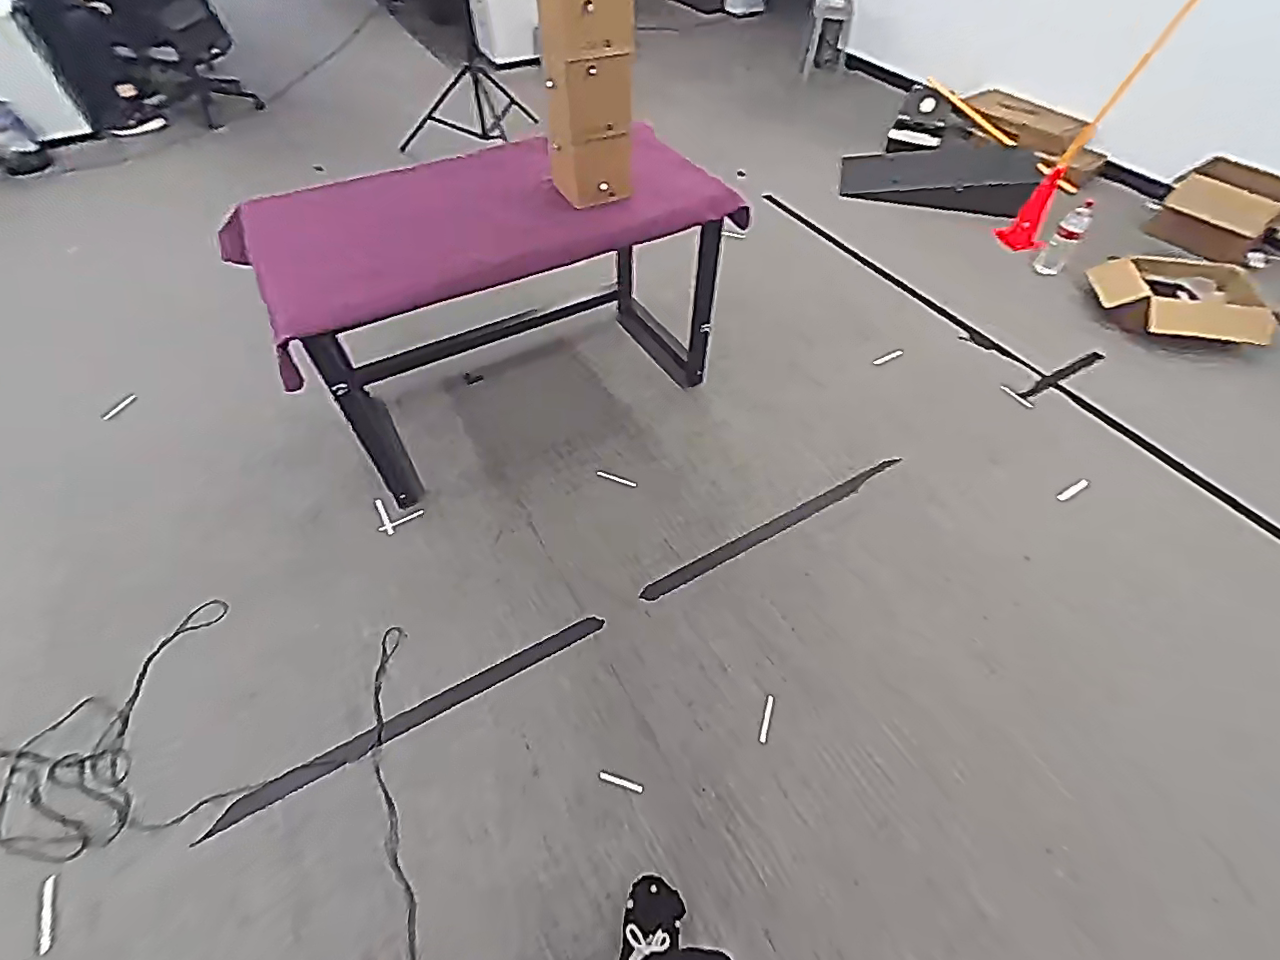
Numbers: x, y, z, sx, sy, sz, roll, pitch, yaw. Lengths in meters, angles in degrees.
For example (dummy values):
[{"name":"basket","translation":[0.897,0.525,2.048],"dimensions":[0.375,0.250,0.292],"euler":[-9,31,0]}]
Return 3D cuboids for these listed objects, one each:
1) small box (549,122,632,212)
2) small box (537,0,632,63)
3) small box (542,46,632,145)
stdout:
[{"name":"small box","translation":[-0.132,-0.859,1.465],"dimensions":[0.168,0.176,0.179],"euler":[-23,57,-16]},{"name":"small box","translation":[-0.123,-1.048,1.197],"dimensions":[0.168,0.176,0.179],"euler":[-21,56,-15]},{"name":"small box","translation":[-0.128,-0.954,1.331],"dimensions":[0.168,0.176,0.179],"euler":[-21,55,-15]}]
